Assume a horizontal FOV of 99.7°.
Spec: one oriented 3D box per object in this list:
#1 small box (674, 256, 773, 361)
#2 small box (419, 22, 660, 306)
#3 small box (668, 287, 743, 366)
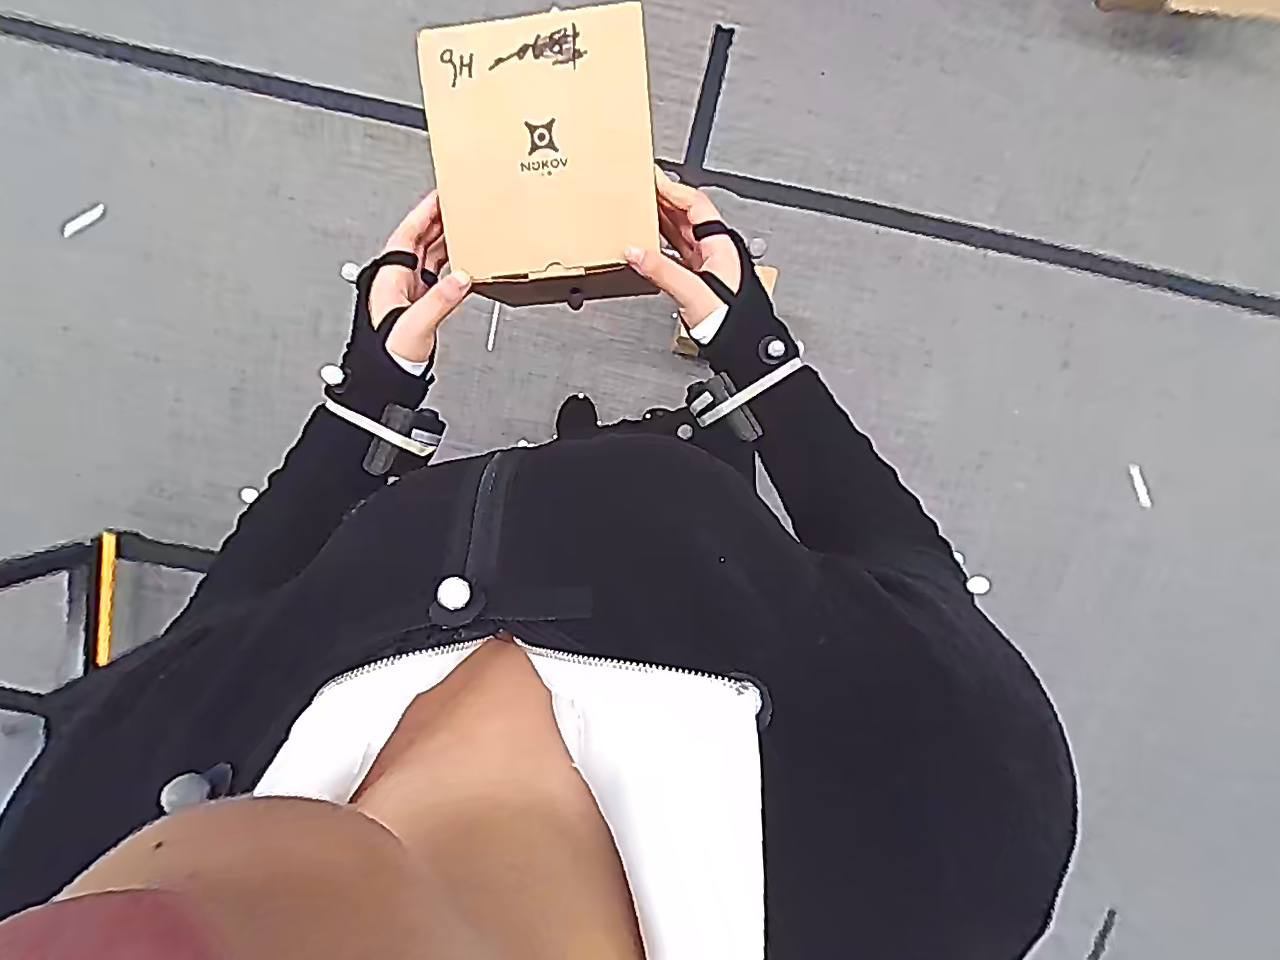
[{"bbox_3d":[0.174,-0.369,1.191,0.168,0.176,0.179,14,101,-2],"label":"small box"},{"bbox_3d":[-0.070,-0.256,0.488,0.168,0.176,0.179,-5,102,4],"label":"small box"},{"bbox_3d":[0.175,-0.384,1.354,0.179,0.176,0.168,12,99,-2],"label":"small box"}]
